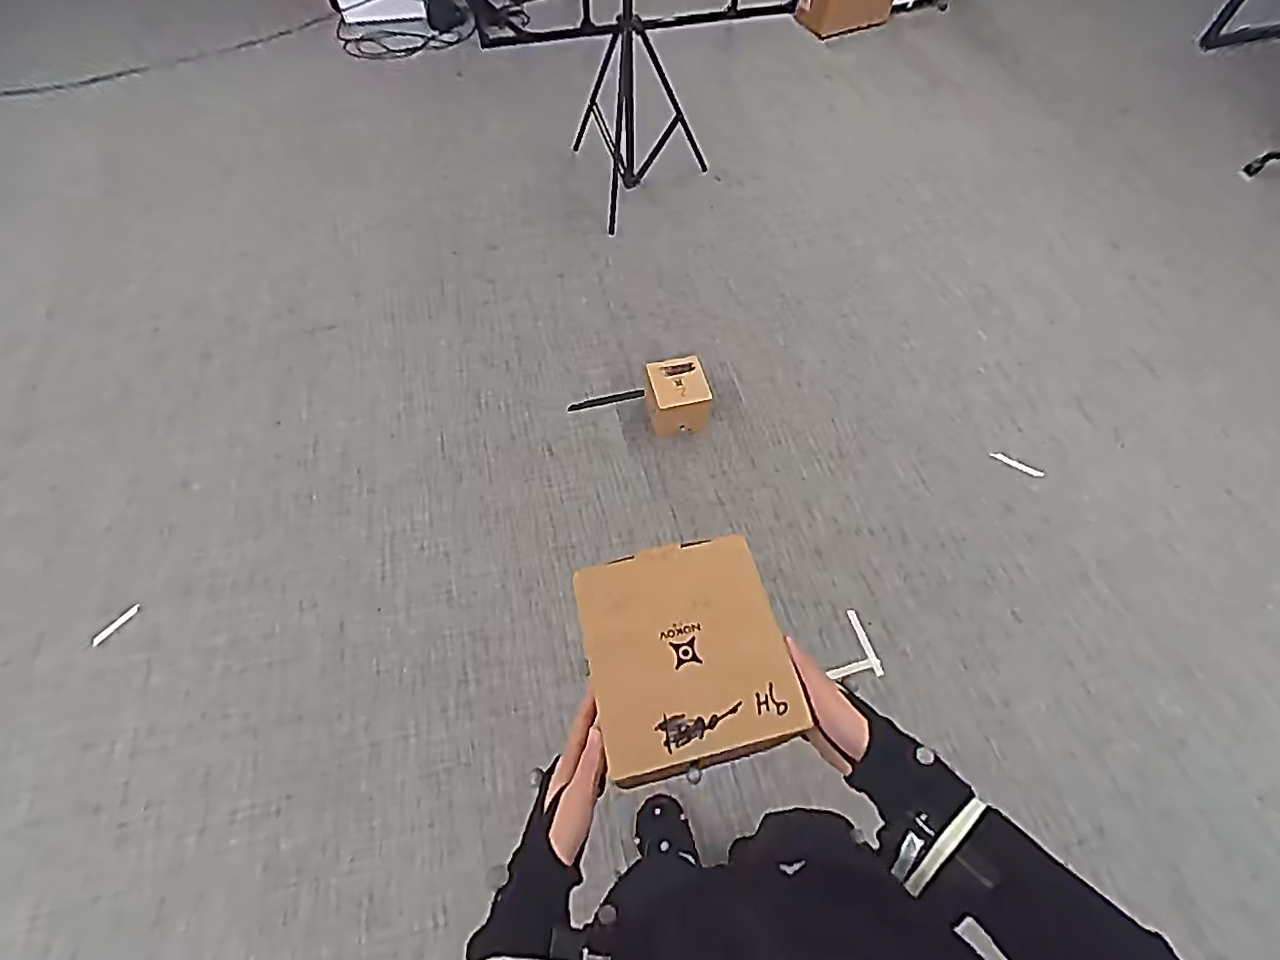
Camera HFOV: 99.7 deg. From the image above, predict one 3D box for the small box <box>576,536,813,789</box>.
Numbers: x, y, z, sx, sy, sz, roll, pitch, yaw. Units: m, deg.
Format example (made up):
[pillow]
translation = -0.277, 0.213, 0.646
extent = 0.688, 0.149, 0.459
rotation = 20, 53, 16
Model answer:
[small box]
translation = 0.039, 0.180, 0.522
extent = 0.168, 0.176, 0.179
rotation = -12, 59, -6
